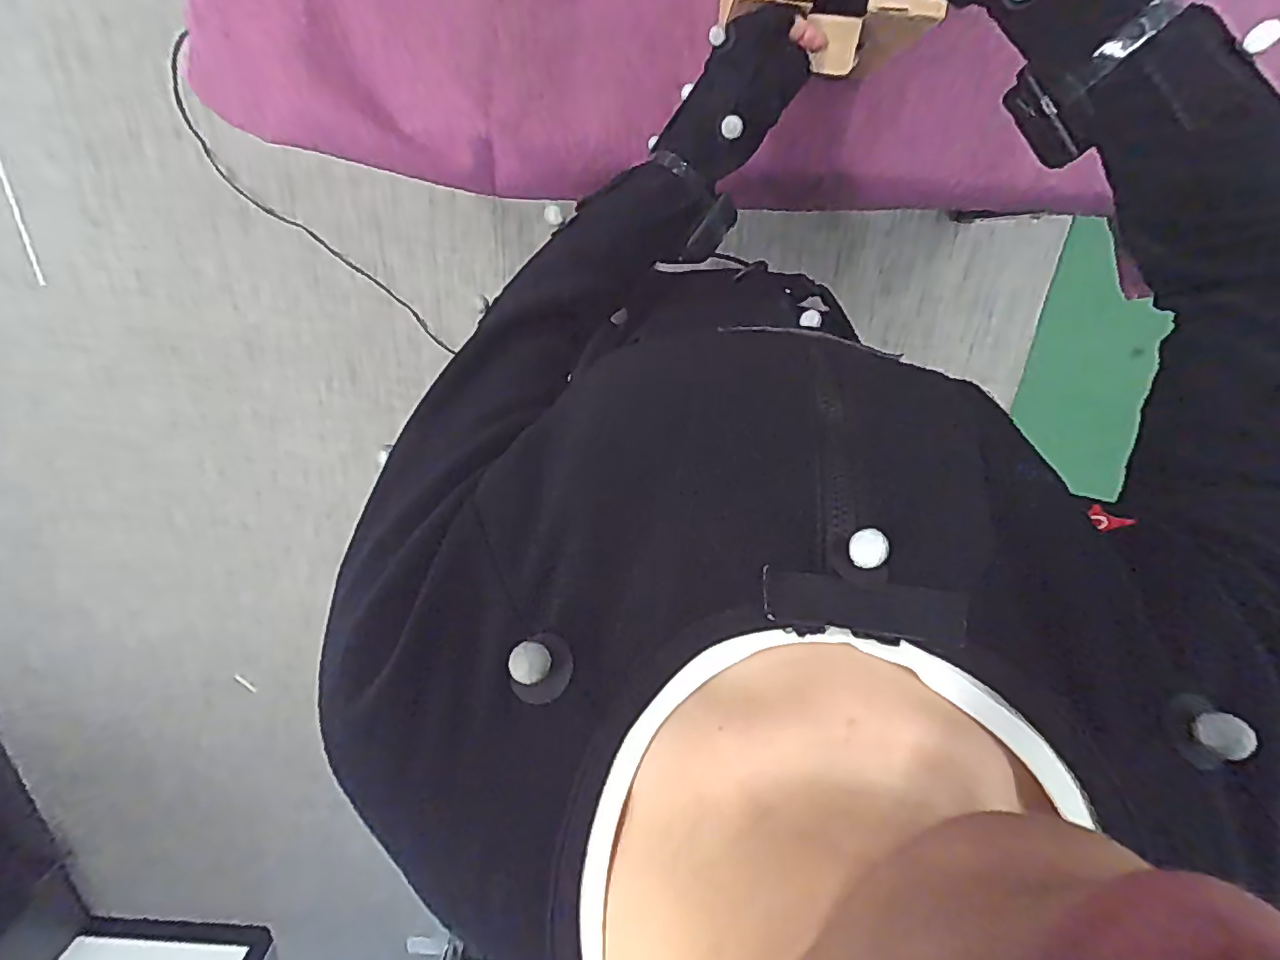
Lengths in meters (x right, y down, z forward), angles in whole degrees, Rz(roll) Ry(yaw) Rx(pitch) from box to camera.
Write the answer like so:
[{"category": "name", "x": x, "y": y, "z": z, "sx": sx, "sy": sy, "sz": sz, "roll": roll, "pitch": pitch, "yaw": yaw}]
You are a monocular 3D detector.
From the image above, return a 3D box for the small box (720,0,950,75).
[{"category": "small box", "x": 0.165, "y": -0.470, "z": 0.453, "sx": 0.168, "sy": 0.176, "sz": 0.179, "roll": 5, "pitch": 112, "yaw": -1}]
